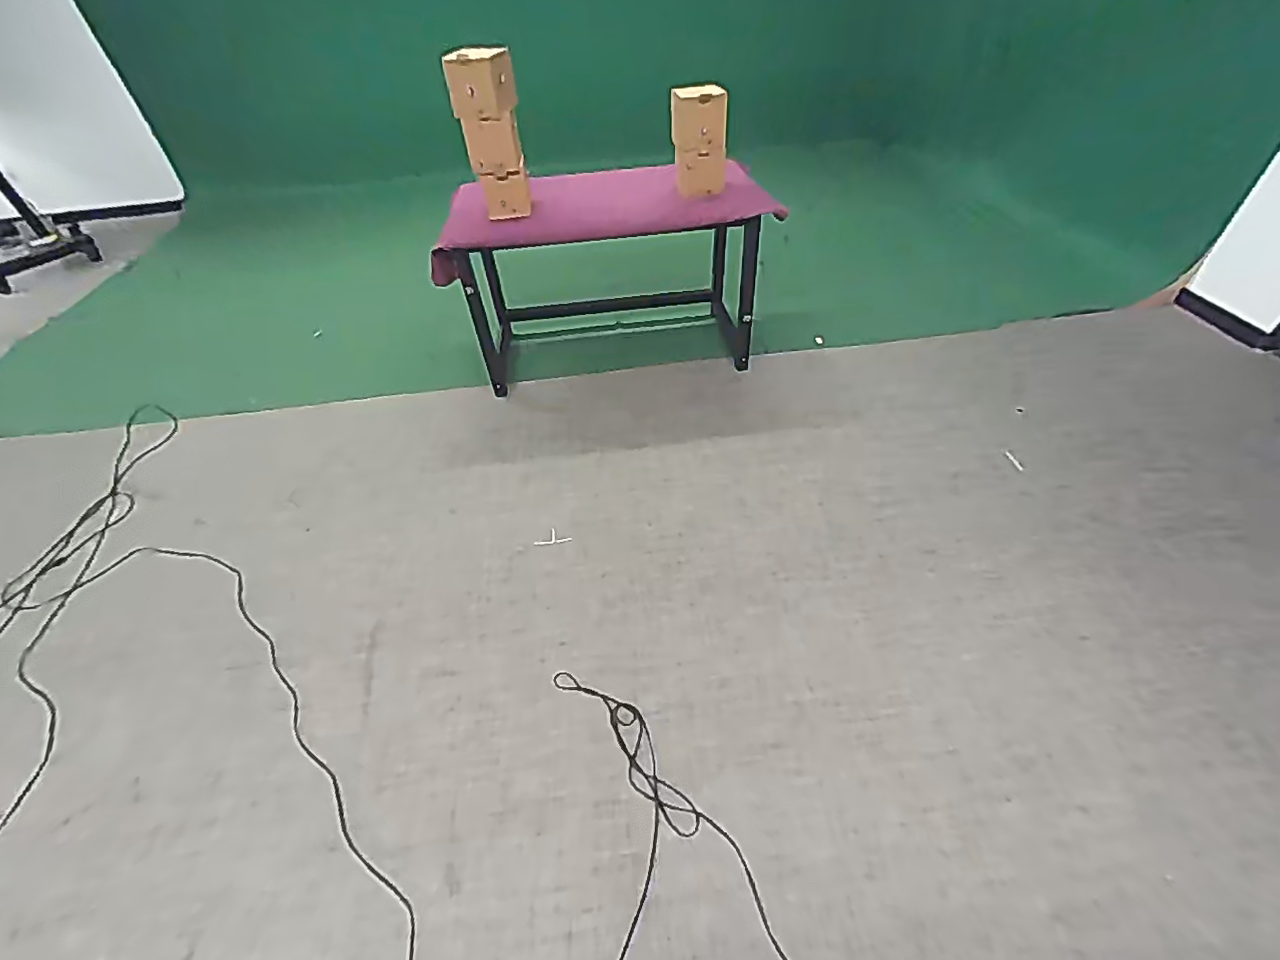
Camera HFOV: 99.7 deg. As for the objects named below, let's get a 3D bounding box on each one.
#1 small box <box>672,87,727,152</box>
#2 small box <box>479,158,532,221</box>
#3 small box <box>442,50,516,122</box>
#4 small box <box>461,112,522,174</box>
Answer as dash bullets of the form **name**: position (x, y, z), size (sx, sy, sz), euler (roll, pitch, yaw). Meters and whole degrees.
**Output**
- **small box**: position (0.214, -1.326, 1.989), size (0.168, 0.176, 0.179), euler (-10, 45, -4)
- **small box**: position (-0.512, -1.116, 2.079), size (0.168, 0.176, 0.179), euler (-8, 47, -4)
- **small box**: position (-0.536, -1.334, 1.834), size (0.168, 0.176, 0.179), euler (9, 49, 11)
- **small box**: position (-0.528, -1.218, 1.950), size (0.168, 0.176, 0.179), euler (-4, 46, -1)
